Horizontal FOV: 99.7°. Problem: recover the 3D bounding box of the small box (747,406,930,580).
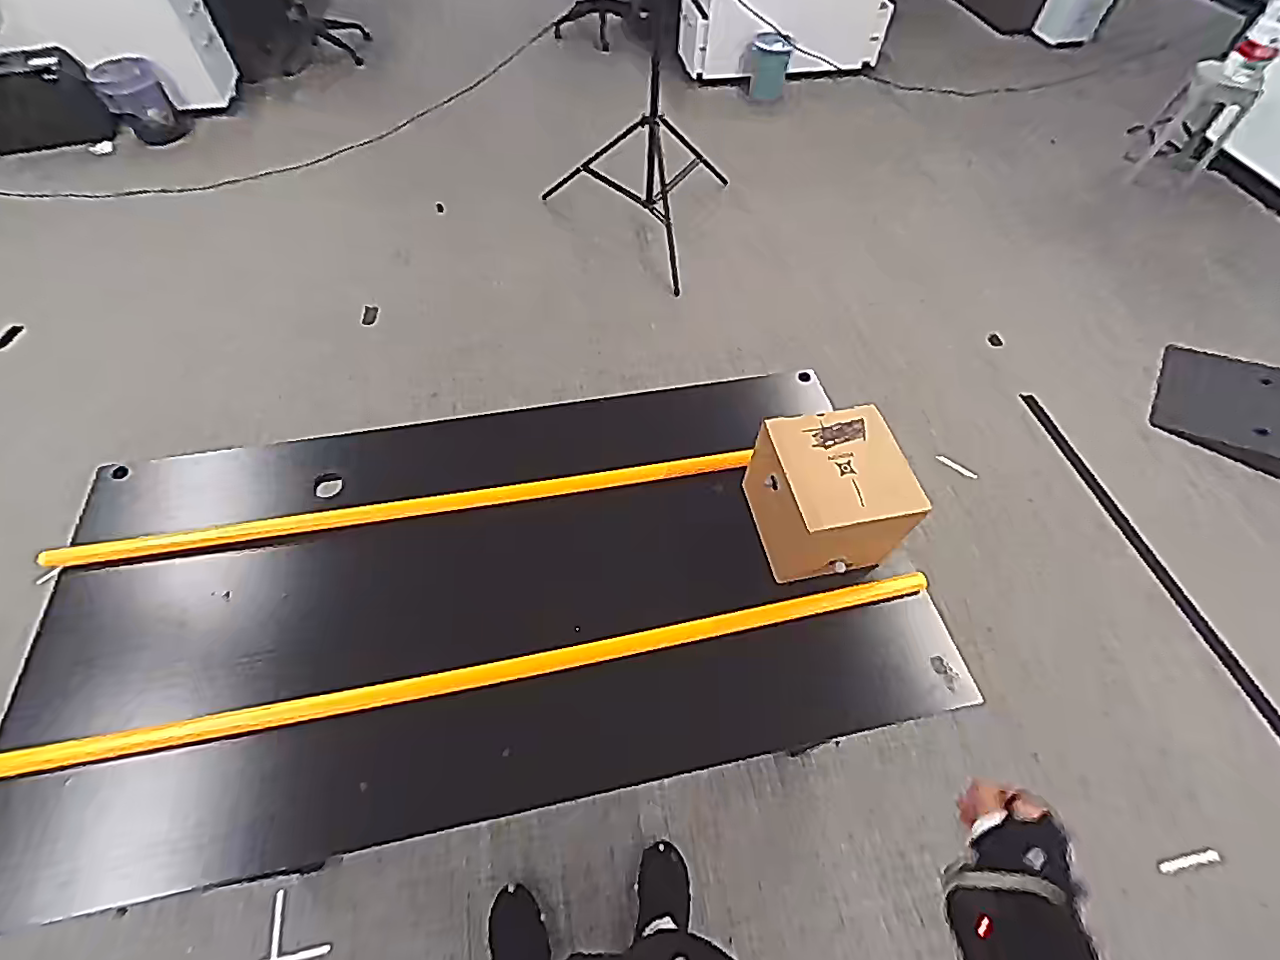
[{"bbox_3d":[0.264,0.021,0.773,0.168,0.176,0.179,-9,59,-6],"label":"small box"}]
